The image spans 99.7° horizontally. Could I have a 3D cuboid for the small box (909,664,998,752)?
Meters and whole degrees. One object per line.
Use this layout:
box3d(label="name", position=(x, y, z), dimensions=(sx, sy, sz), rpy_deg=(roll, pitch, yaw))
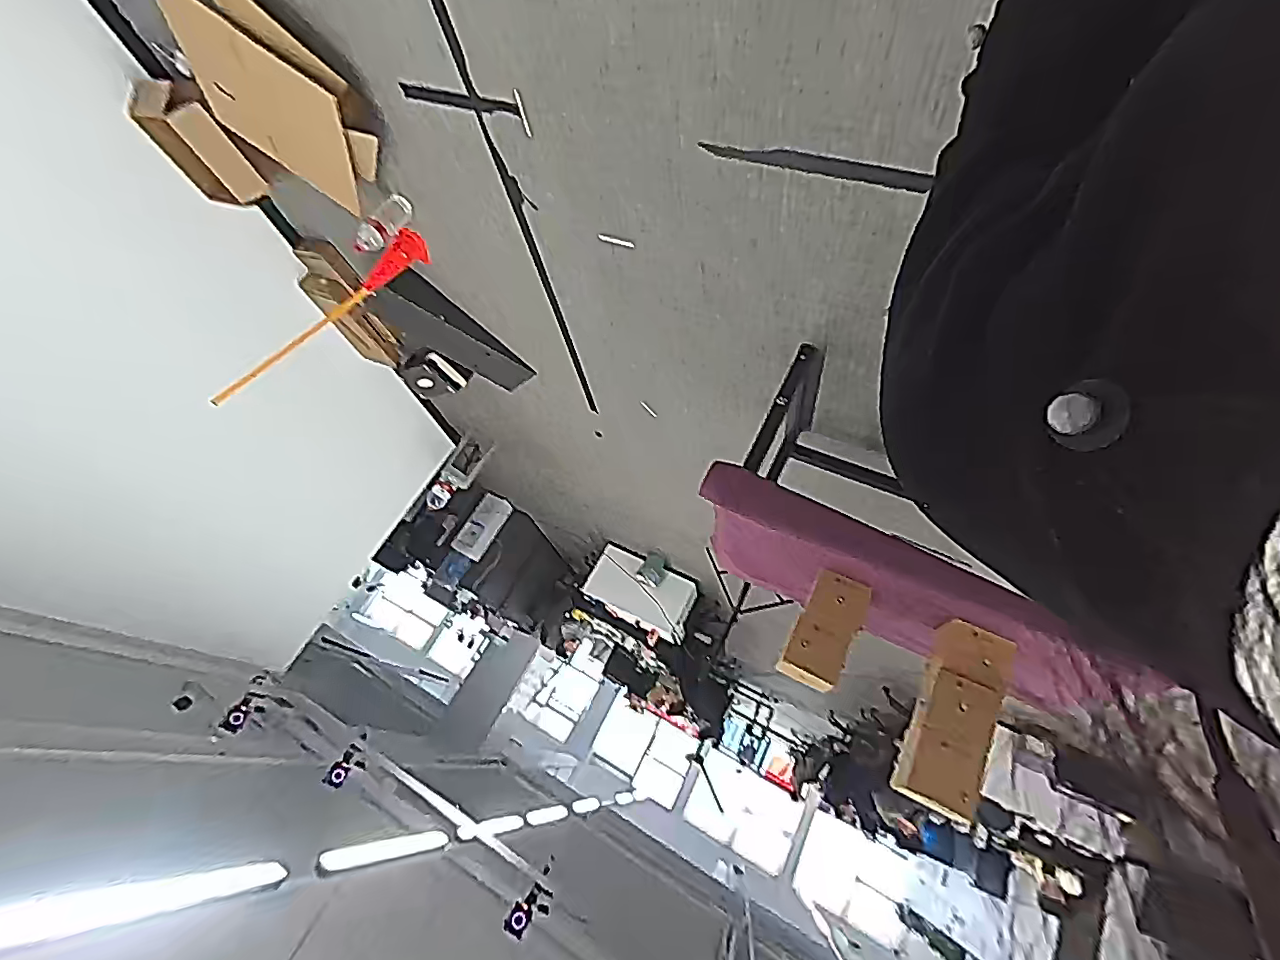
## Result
box3d(label="small box", position=(0.884, 0.639, 1.524), dimensions=(0.168, 0.176, 0.179), rpy_deg=(20, 157, 24))

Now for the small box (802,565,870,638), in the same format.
box3d(label="small box", position=(0.631, 0.399, 1.761), dimensions=(0.168, 0.176, 0.179), rpy_deg=(23, 158, 19))

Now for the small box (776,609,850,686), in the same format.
box3d(label="small box", position=(0.546, 0.528, 1.711), dimensions=(0.168, 0.176, 0.179), rpy_deg=(24, 159, 18))

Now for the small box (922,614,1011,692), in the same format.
box3d(label="small box", position=(0.966, 0.517, 1.599), dimensions=(0.168, 0.176, 0.179), rpy_deg=(22, 158, 20))
